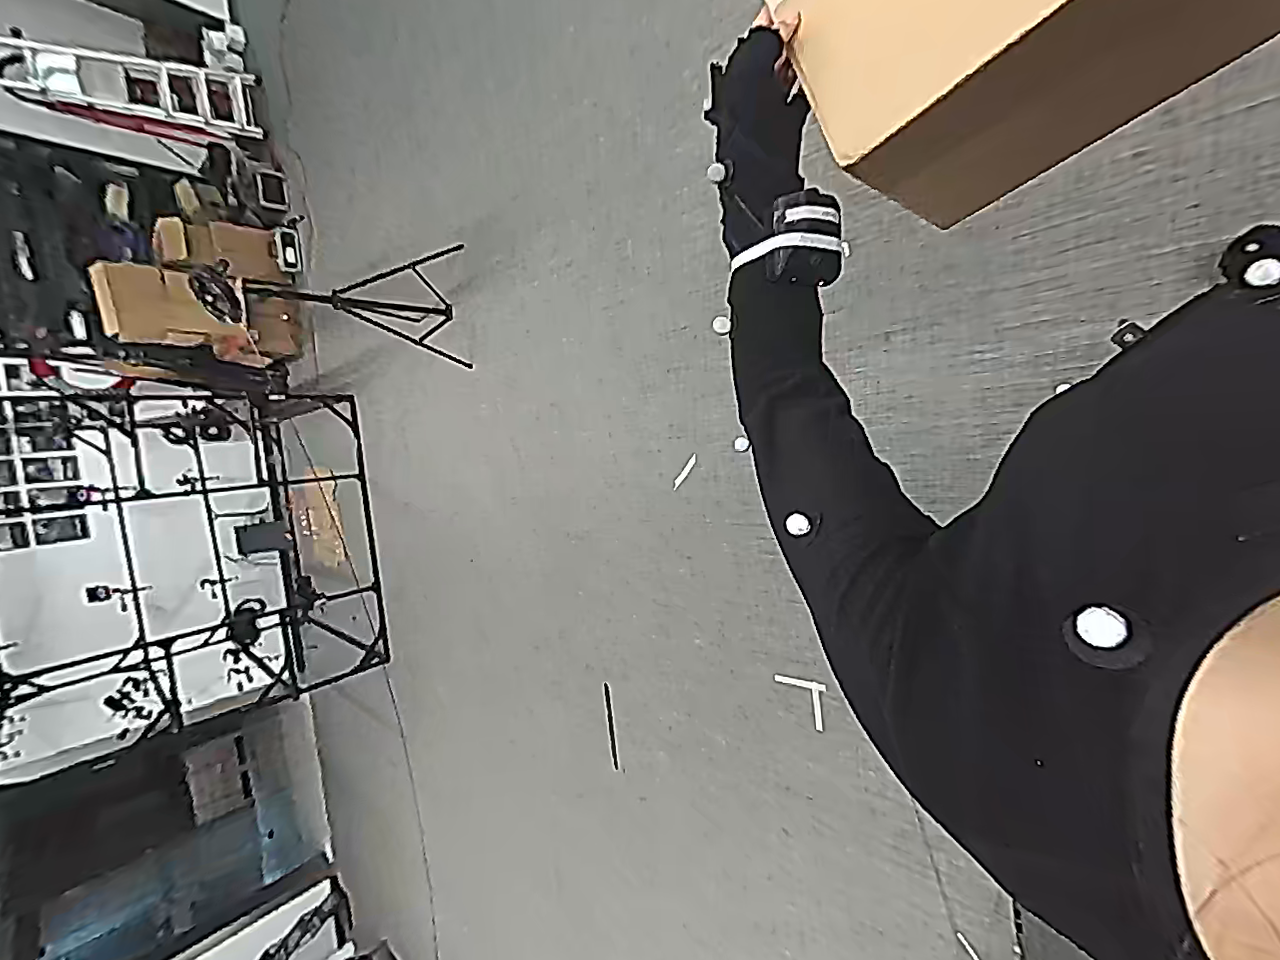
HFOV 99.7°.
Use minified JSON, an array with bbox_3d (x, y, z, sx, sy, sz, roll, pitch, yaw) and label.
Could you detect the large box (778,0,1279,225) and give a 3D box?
[{"bbox_3d":[0.346,-0.484,0.427,0.408,0.320,0.320,-26,82,43],"label":"large box"}]
